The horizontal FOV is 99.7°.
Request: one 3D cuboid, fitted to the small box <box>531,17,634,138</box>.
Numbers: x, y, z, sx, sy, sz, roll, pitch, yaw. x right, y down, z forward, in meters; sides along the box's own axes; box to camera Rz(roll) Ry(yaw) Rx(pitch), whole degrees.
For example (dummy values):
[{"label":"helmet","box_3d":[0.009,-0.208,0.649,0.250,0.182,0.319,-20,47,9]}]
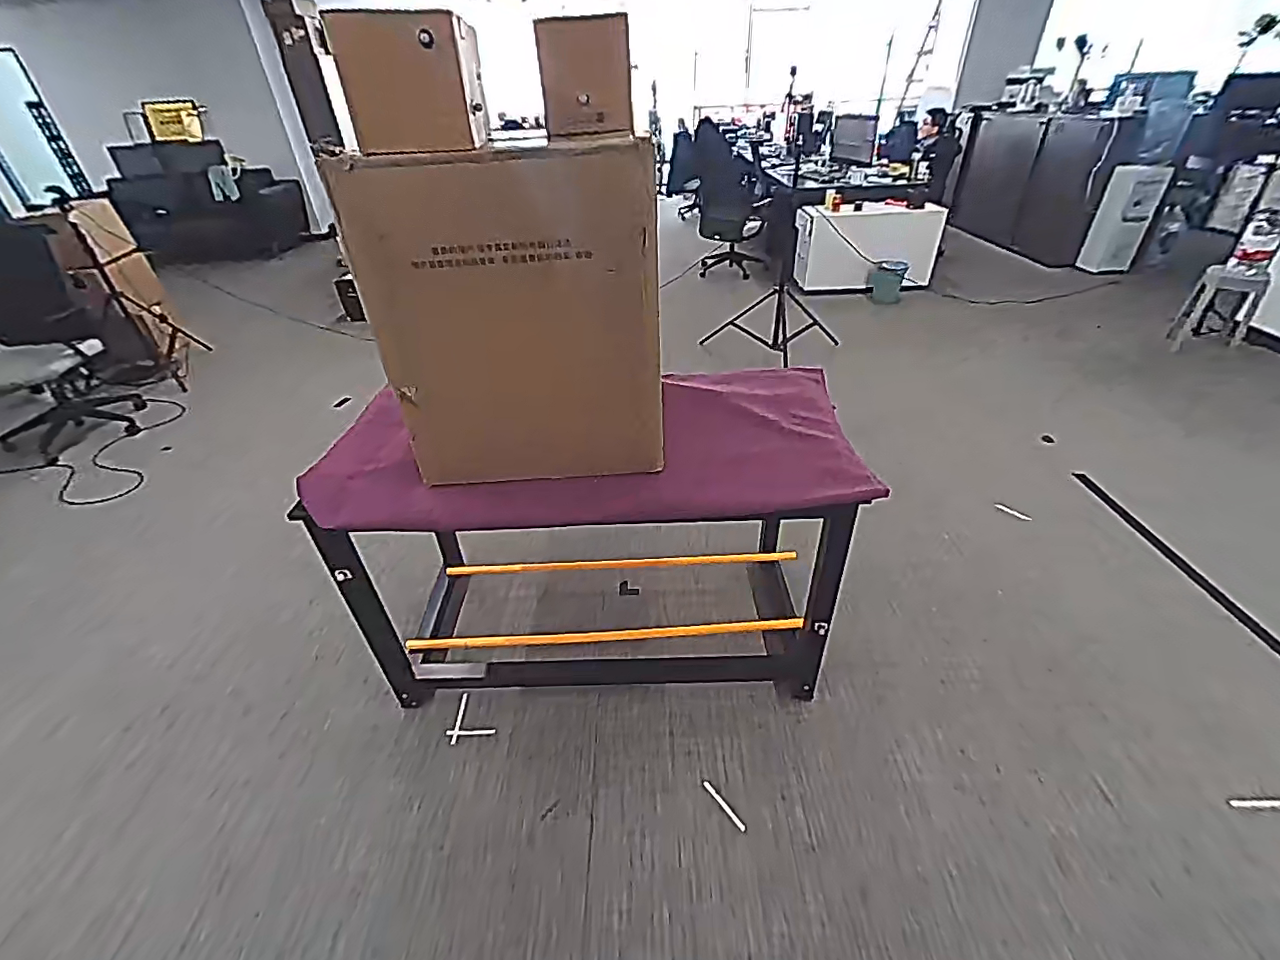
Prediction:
[{"label":"small box","box_3d":[-0.100,-0.750,1.019,0.168,0.176,0.179,-3,36,2]}]
